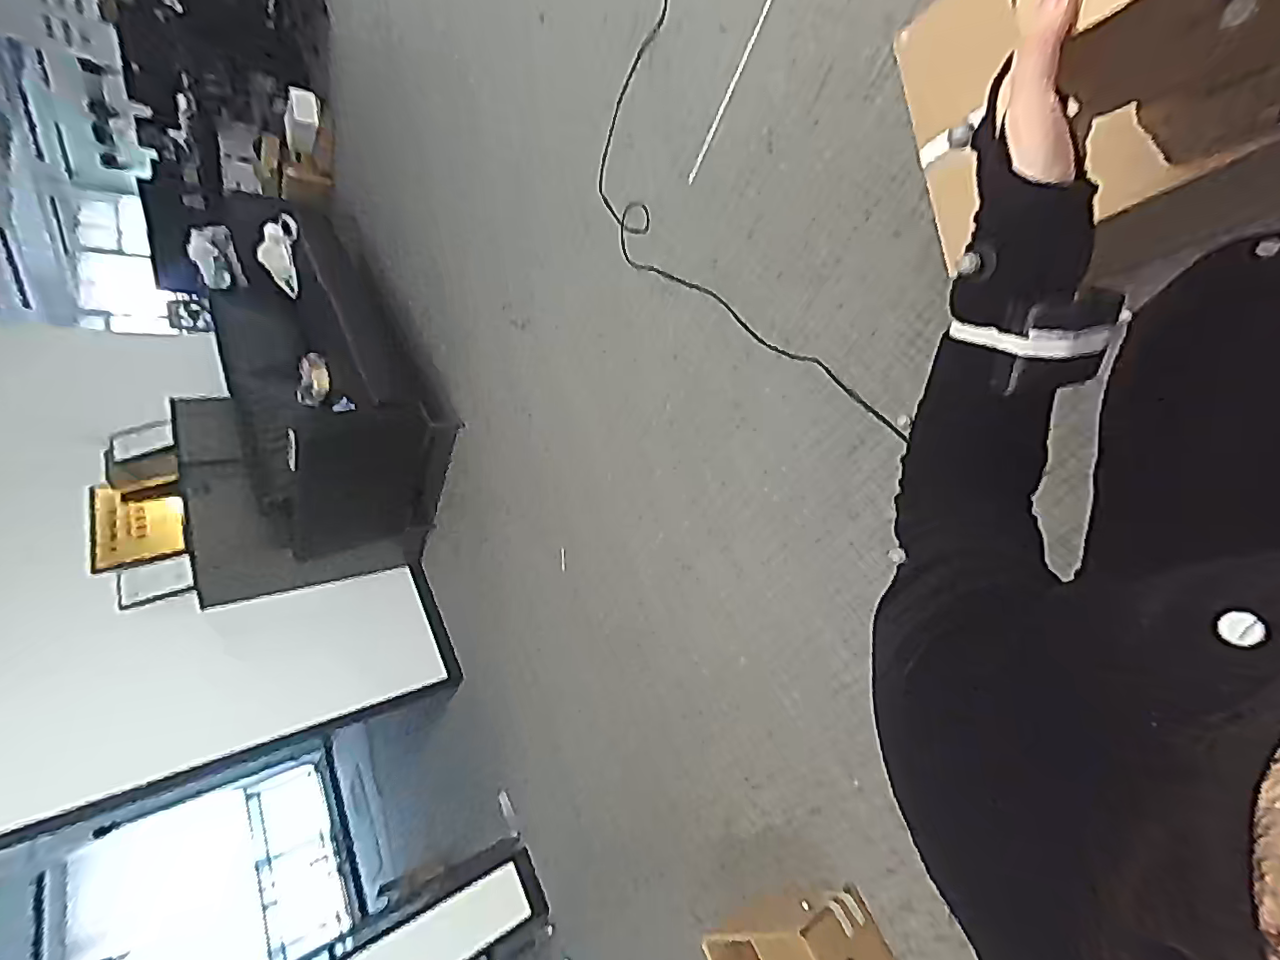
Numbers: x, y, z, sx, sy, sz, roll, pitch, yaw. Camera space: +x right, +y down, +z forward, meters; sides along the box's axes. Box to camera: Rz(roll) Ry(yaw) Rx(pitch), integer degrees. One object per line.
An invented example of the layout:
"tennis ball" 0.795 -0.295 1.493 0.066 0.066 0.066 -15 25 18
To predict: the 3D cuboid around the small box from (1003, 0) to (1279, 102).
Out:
"small box" 0.291 -0.322 0.258 0.179 0.176 0.168 -9 98 53
